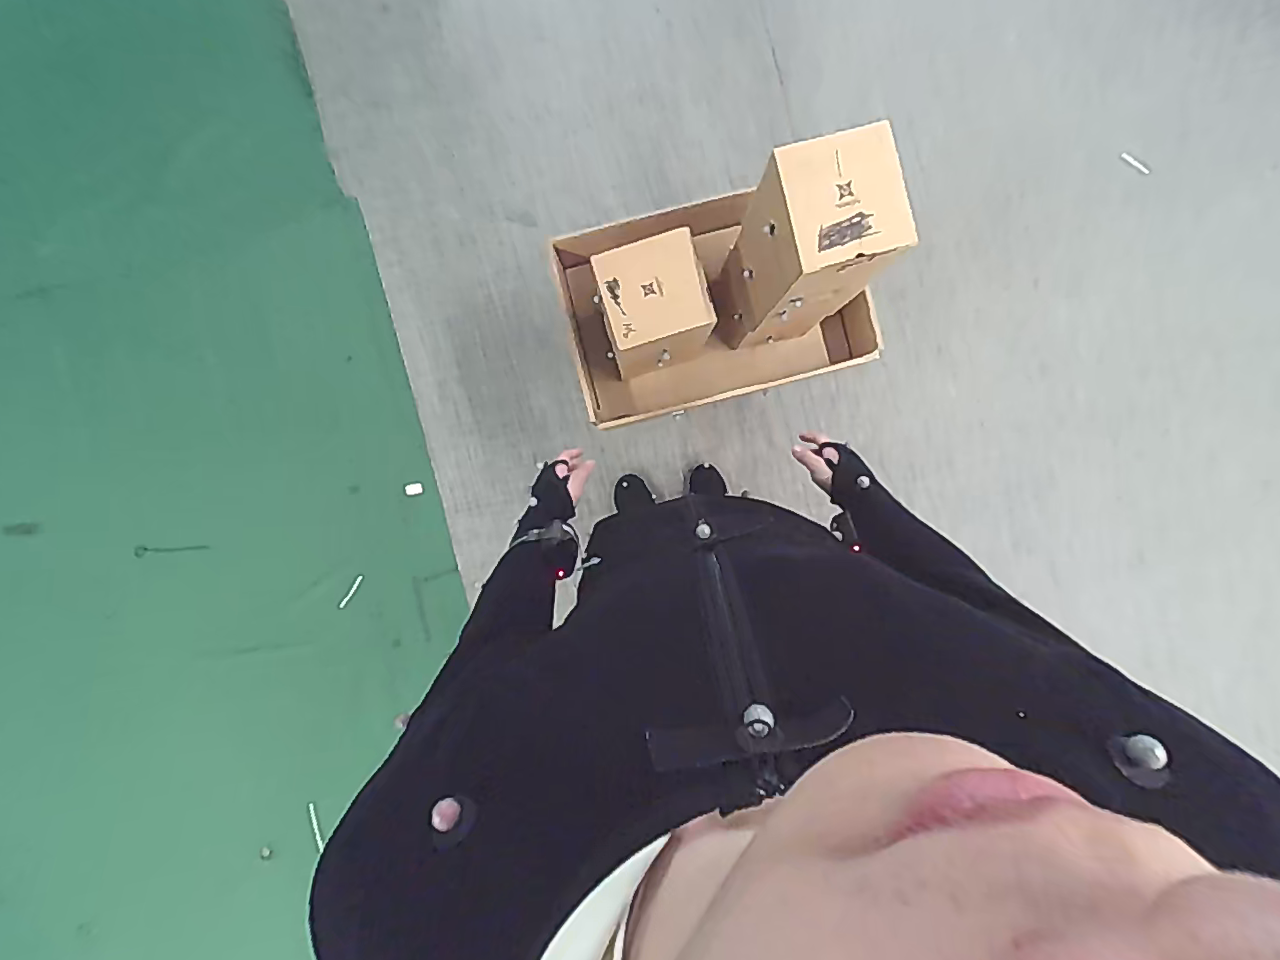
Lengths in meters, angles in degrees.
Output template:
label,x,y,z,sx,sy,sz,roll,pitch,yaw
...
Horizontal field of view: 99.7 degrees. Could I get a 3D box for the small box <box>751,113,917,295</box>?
label,x,y,z,sx,sy,sz,roll,pitch,yaw
small box,0.277,-0.393,0.808,0.168,0.176,0.179,-14,91,0

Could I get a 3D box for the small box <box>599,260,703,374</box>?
label,x,y,z,sx,sy,sz,roll,pitch,yaw
small box,0.021,-0.333,1.138,0.179,0.176,0.168,-15,91,-1
